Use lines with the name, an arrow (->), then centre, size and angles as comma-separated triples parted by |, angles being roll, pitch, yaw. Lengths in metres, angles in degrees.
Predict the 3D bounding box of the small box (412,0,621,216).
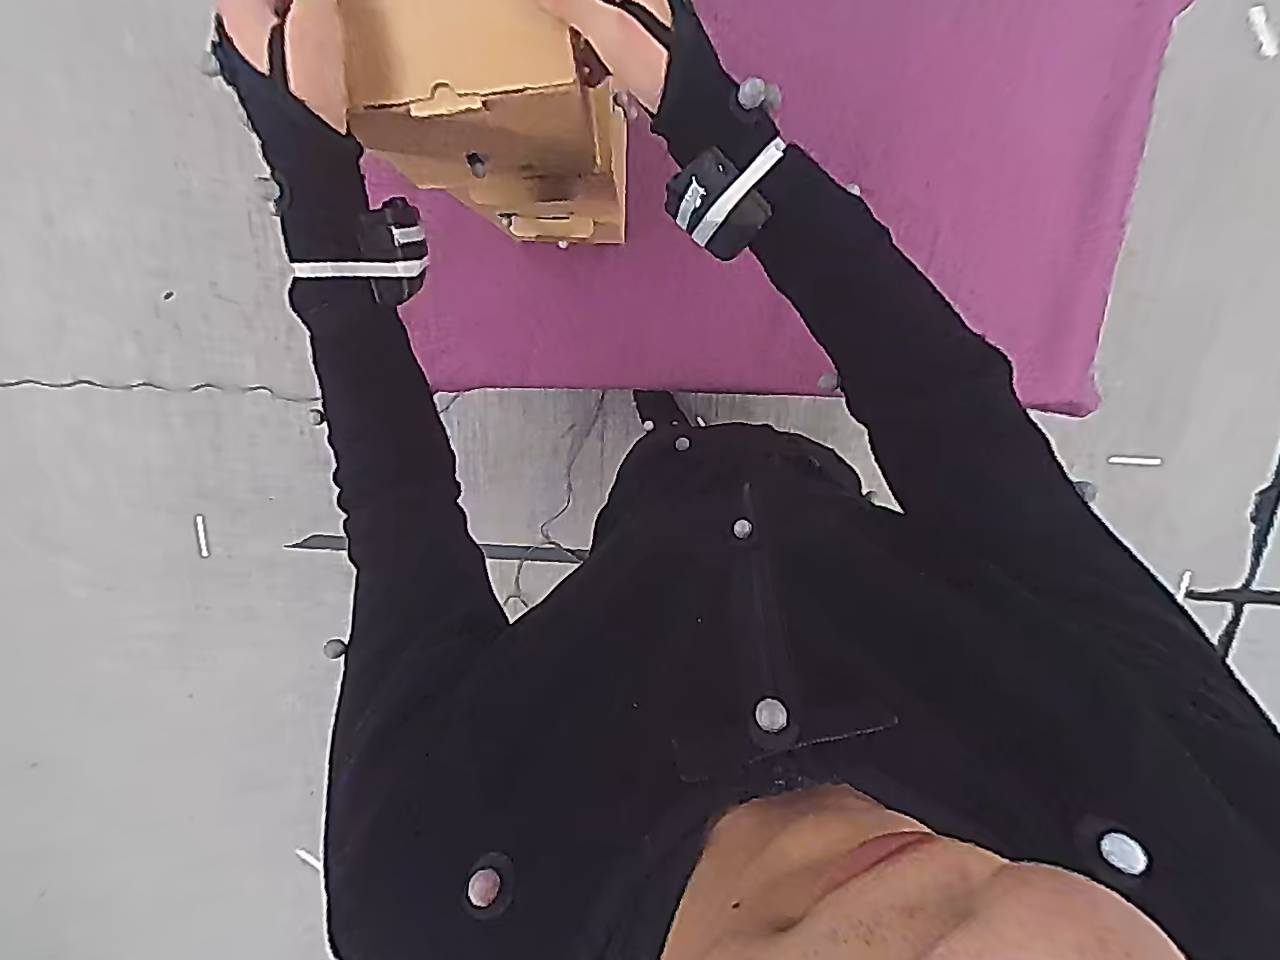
small box -> -0.107, -0.374, 0.542 | 0.168, 0.176, 0.179 | -2, 104, 1

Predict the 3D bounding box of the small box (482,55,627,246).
small box -> -0.103, -0.414, 0.701 | 0.168, 0.176, 0.179 | 2, 105, 0
